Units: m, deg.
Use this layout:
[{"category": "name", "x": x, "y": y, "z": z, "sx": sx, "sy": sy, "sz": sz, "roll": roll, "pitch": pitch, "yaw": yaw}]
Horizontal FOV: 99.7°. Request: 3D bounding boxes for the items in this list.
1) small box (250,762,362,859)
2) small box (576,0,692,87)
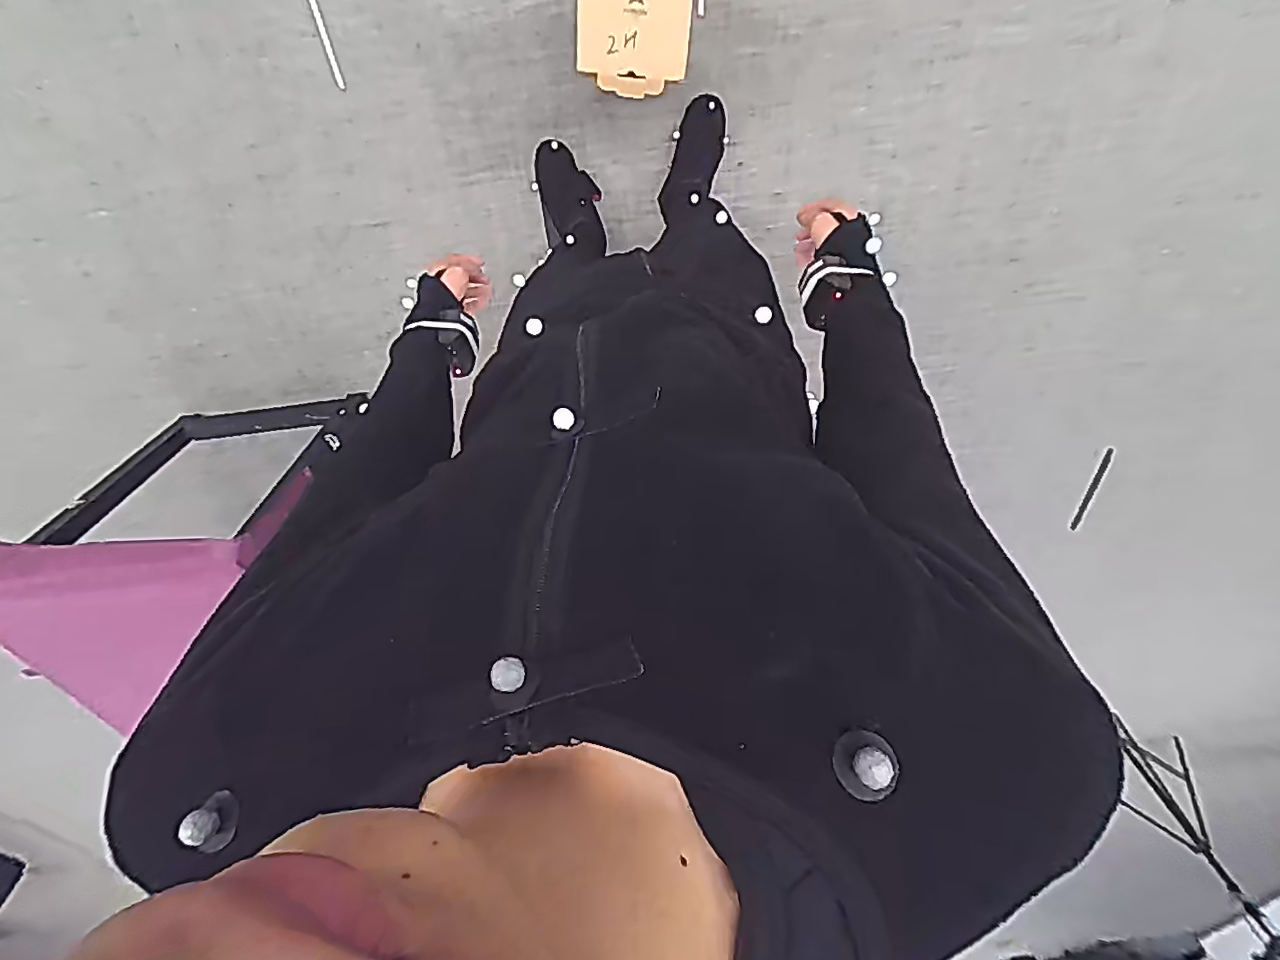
[{"category": "small box", "x": -0.906, "y": 0.907, "z": 1.488, "sx": 0.168, "sy": 0.176, "sz": 0.179, "roll": -15, "pitch": 126, "yaw": 7}, {"category": "small box", "x": -0.014, "y": -0.724, "z": 0.835, "sx": 0.168, "sy": 0.176, "sz": 0.179, "roll": 2, "pitch": 126, "yaw": -6}]
